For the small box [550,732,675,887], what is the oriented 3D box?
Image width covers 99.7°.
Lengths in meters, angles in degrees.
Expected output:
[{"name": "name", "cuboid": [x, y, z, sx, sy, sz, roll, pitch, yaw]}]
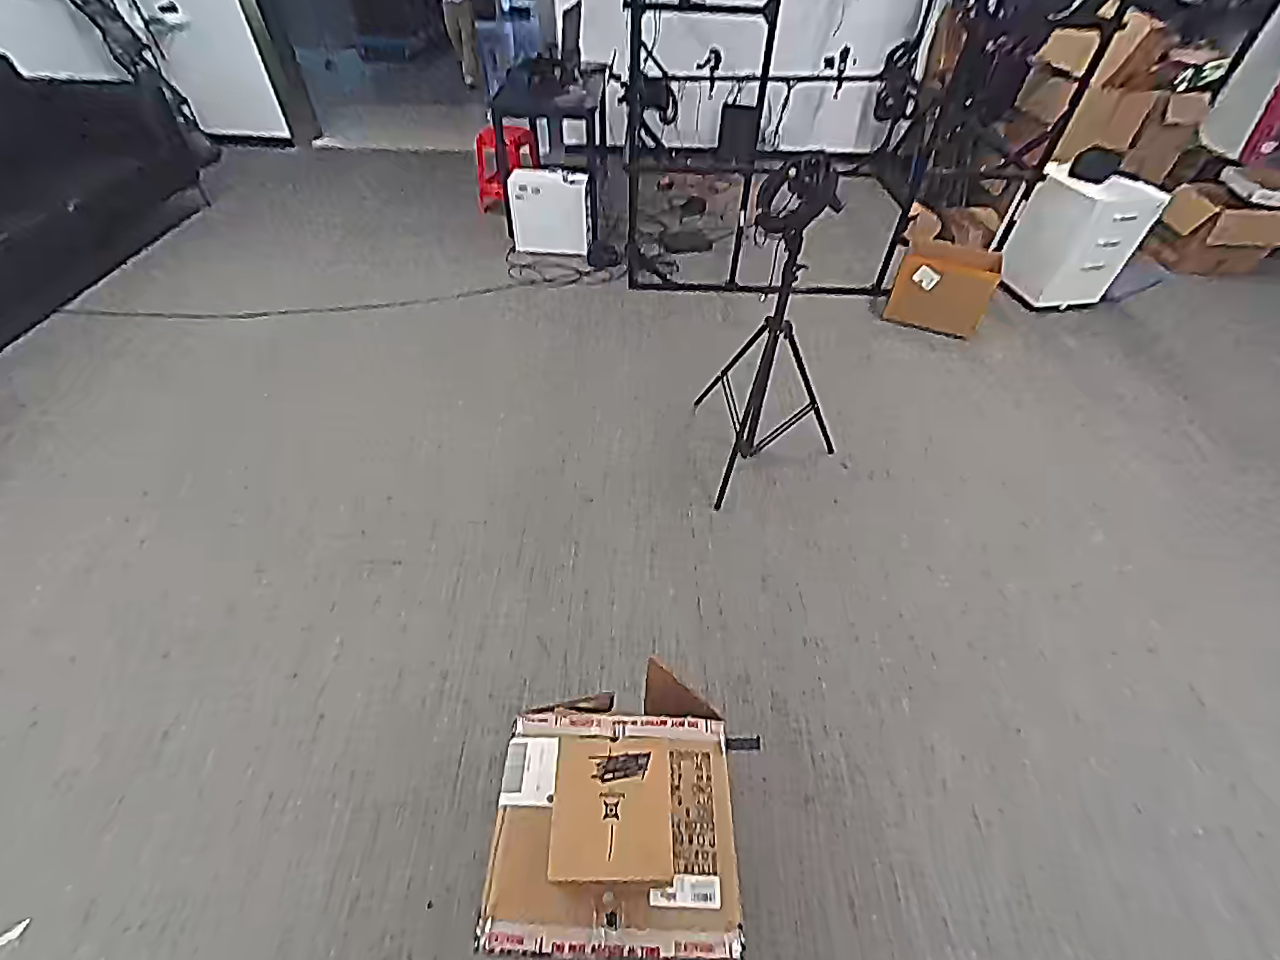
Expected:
[{"name": "small box", "cuboid": [-0.038, 0.495, 0.811, 0.168, 0.176, 0.179, 0, 50, -1]}]
